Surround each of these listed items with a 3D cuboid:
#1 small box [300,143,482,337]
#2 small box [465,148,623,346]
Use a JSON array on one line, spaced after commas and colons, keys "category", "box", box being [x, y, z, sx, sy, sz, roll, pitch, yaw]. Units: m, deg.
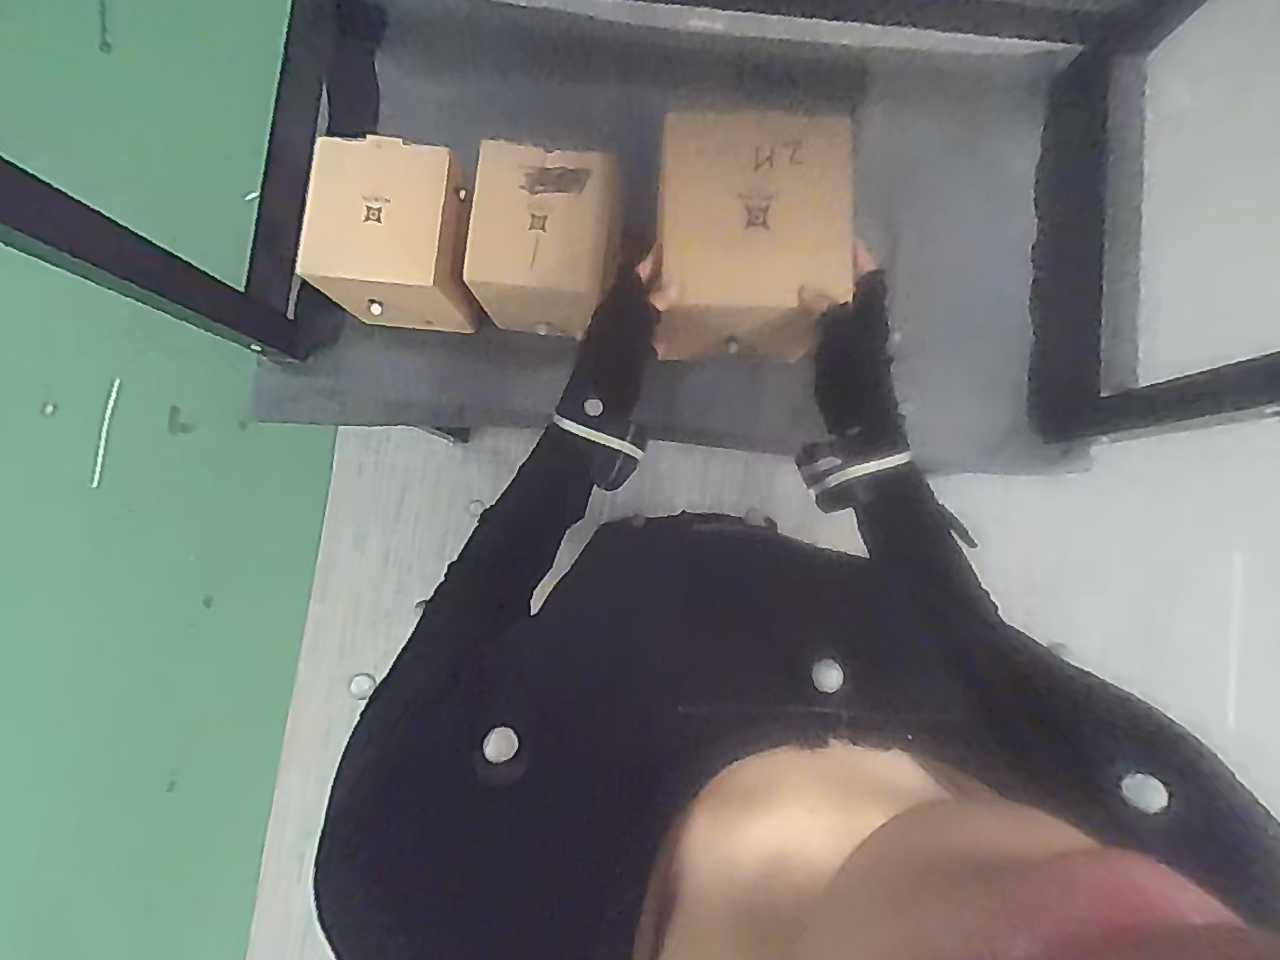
[{"category": "small box", "box": [-0.311, -0.305, 0.721, 0.168, 0.176, 0.179, 5, 84, 1]}, {"category": "small box", "box": [-0.114, -0.297, 0.719, 0.168, 0.176, 0.179, 6, 86, 2]}]
